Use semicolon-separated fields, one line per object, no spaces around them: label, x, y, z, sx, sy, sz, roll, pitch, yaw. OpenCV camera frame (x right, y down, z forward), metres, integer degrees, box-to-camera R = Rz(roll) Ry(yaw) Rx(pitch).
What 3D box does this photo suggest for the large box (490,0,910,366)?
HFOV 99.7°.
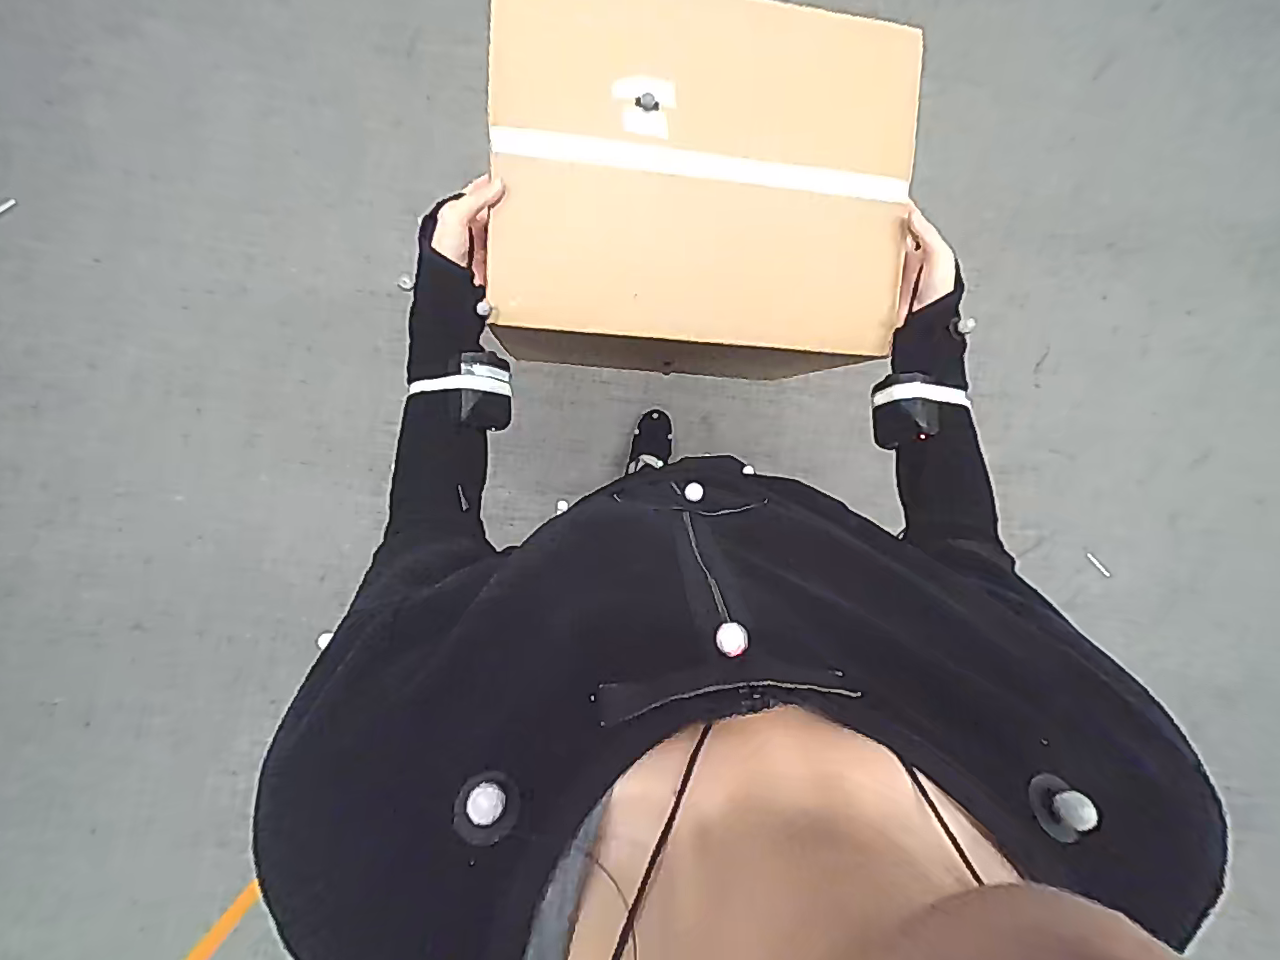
large box;0.044;-0.314;0.664;0.408;0.320;0.320;2;95;-8
